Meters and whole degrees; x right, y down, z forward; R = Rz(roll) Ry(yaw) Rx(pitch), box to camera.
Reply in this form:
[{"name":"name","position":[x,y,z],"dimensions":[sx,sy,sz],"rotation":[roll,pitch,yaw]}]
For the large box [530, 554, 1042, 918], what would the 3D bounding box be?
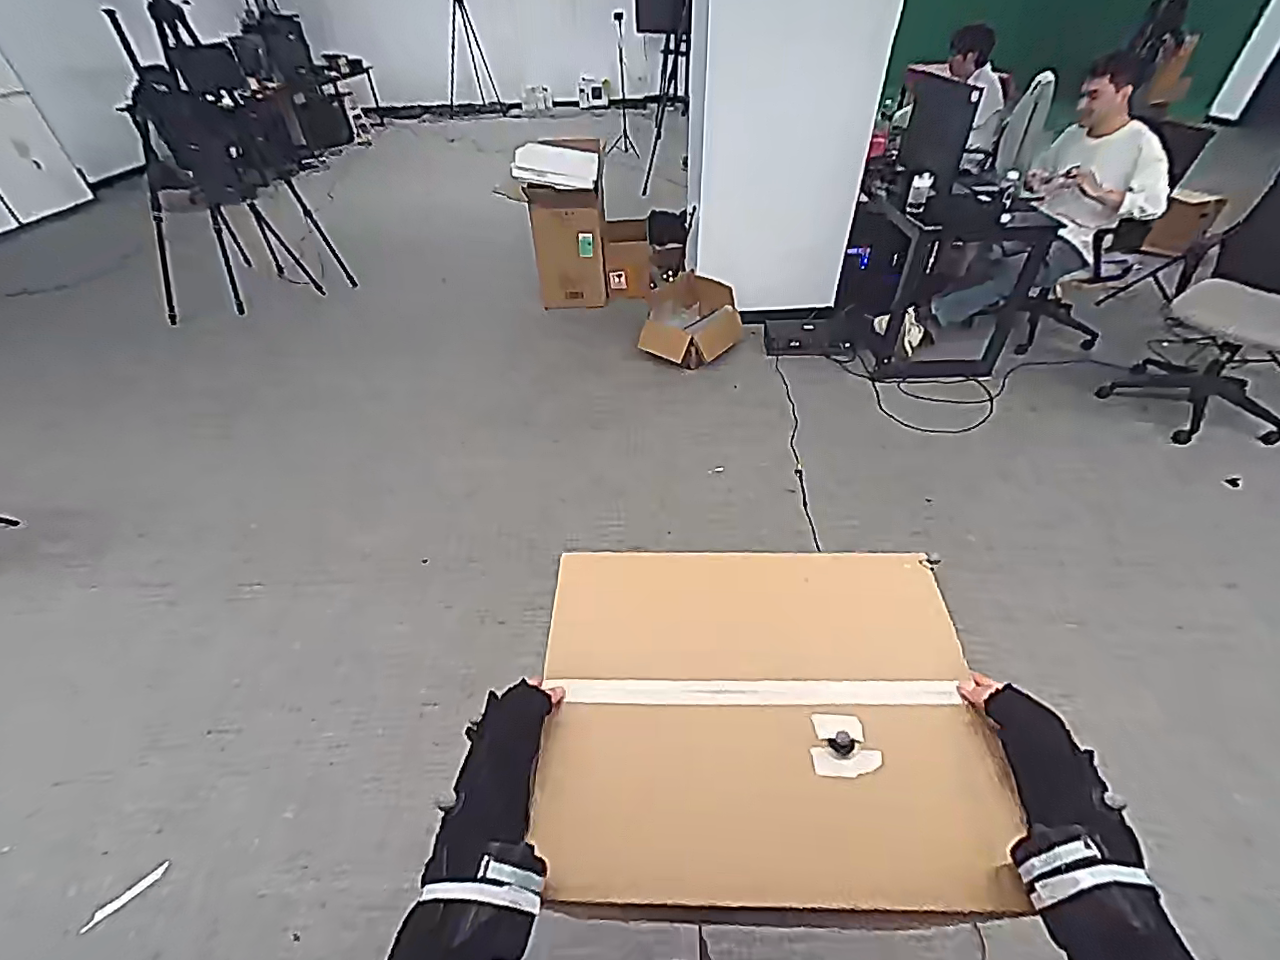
[{"name":"large box","position":[0.114,0.298,0.623],"dimensions":[0.408,0.320,0.320],"rotation":[0,49,2]}]
